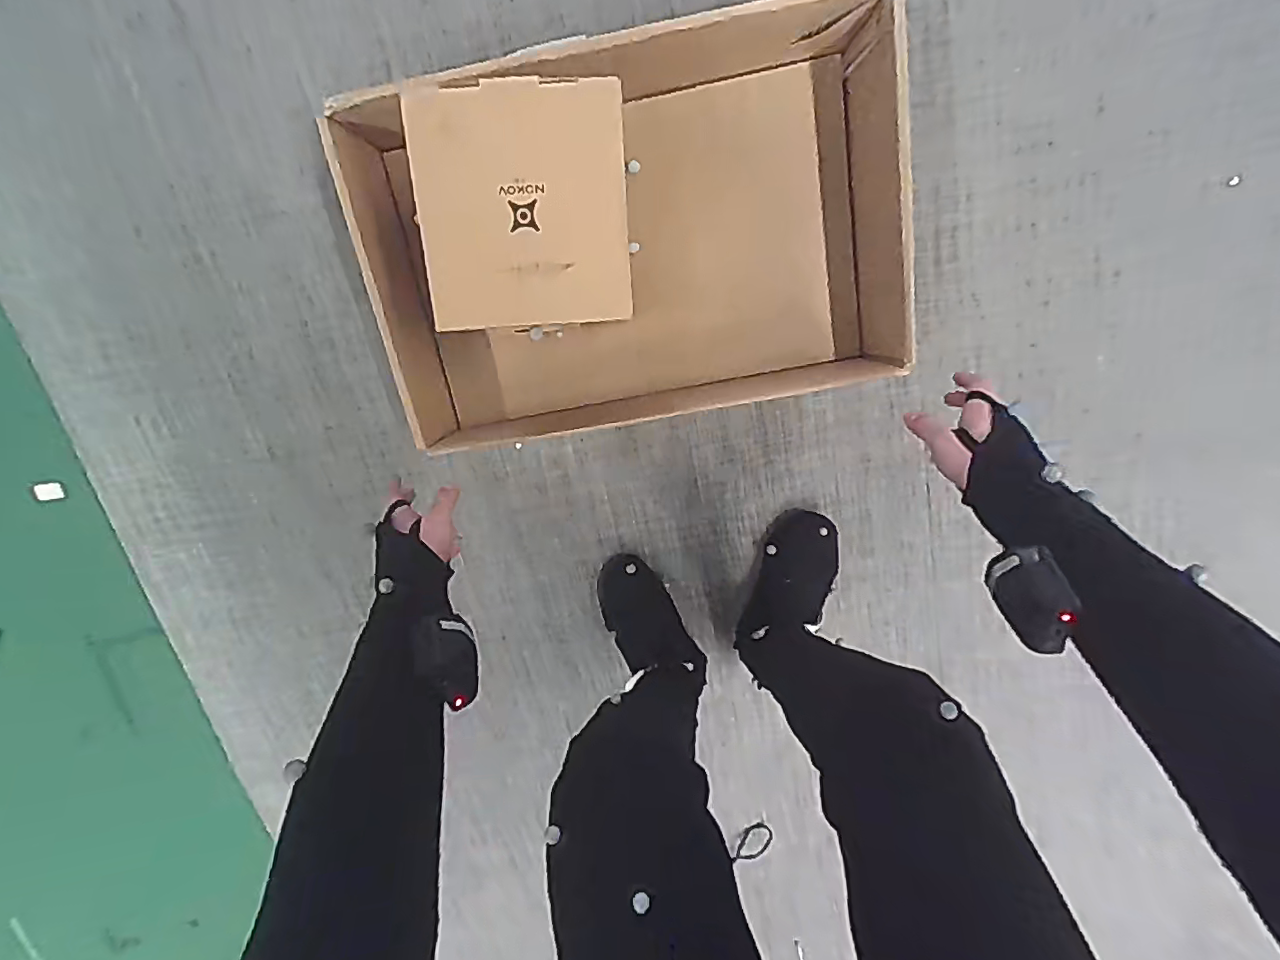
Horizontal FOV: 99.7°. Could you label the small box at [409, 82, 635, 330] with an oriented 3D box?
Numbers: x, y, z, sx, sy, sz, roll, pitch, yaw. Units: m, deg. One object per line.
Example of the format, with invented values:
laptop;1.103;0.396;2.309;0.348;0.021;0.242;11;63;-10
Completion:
small box;-0.092;-0.234;0.504;0.168;0.176;0.179;-3;106;-1
